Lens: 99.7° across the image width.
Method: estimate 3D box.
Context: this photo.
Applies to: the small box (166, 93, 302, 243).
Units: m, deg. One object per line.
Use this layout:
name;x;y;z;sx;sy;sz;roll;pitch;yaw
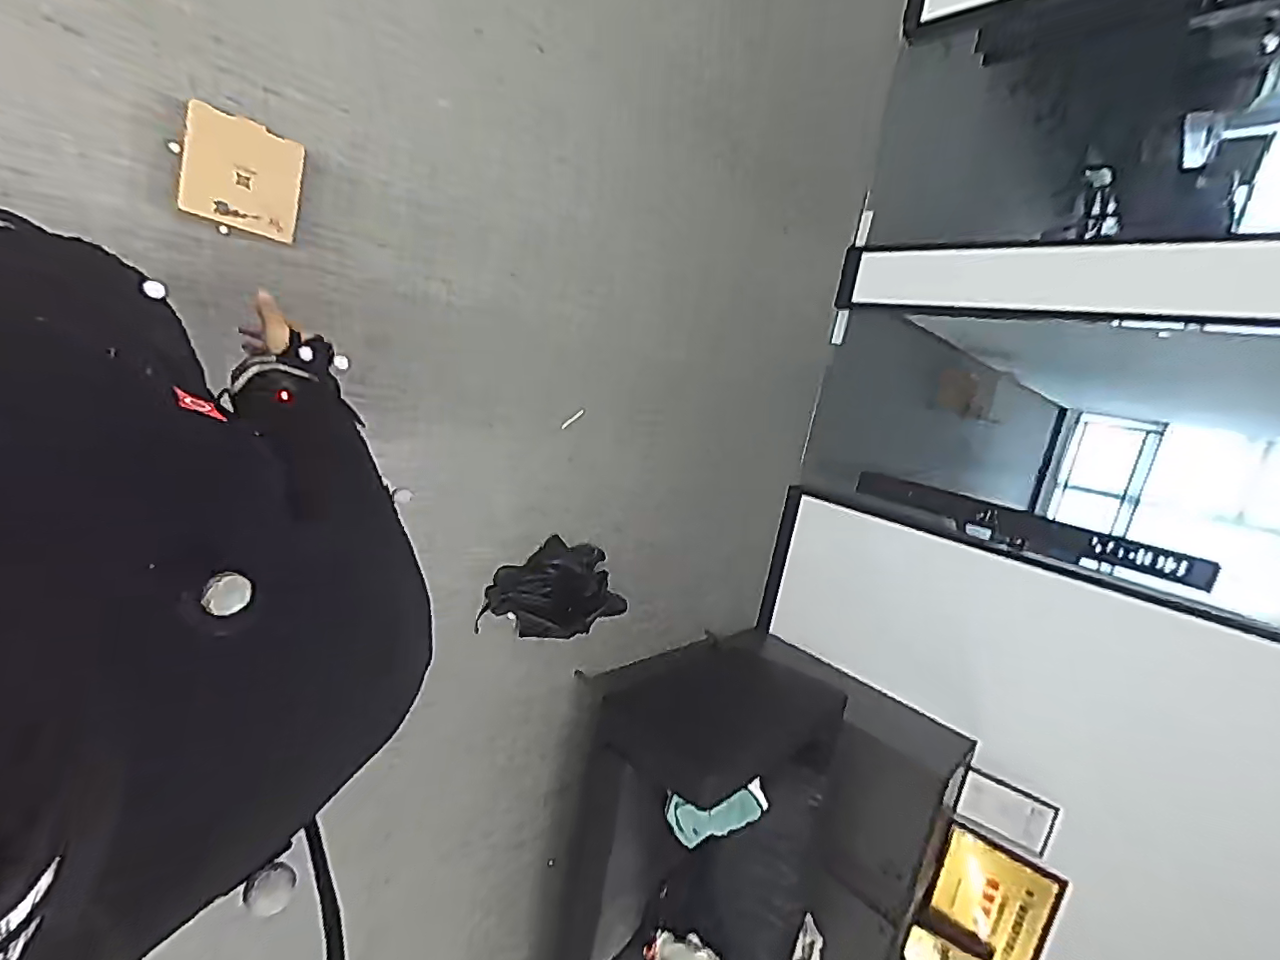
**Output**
small box;-0.738;-0.548;0.979;0.168;0.176;0.179;4;102;-46
